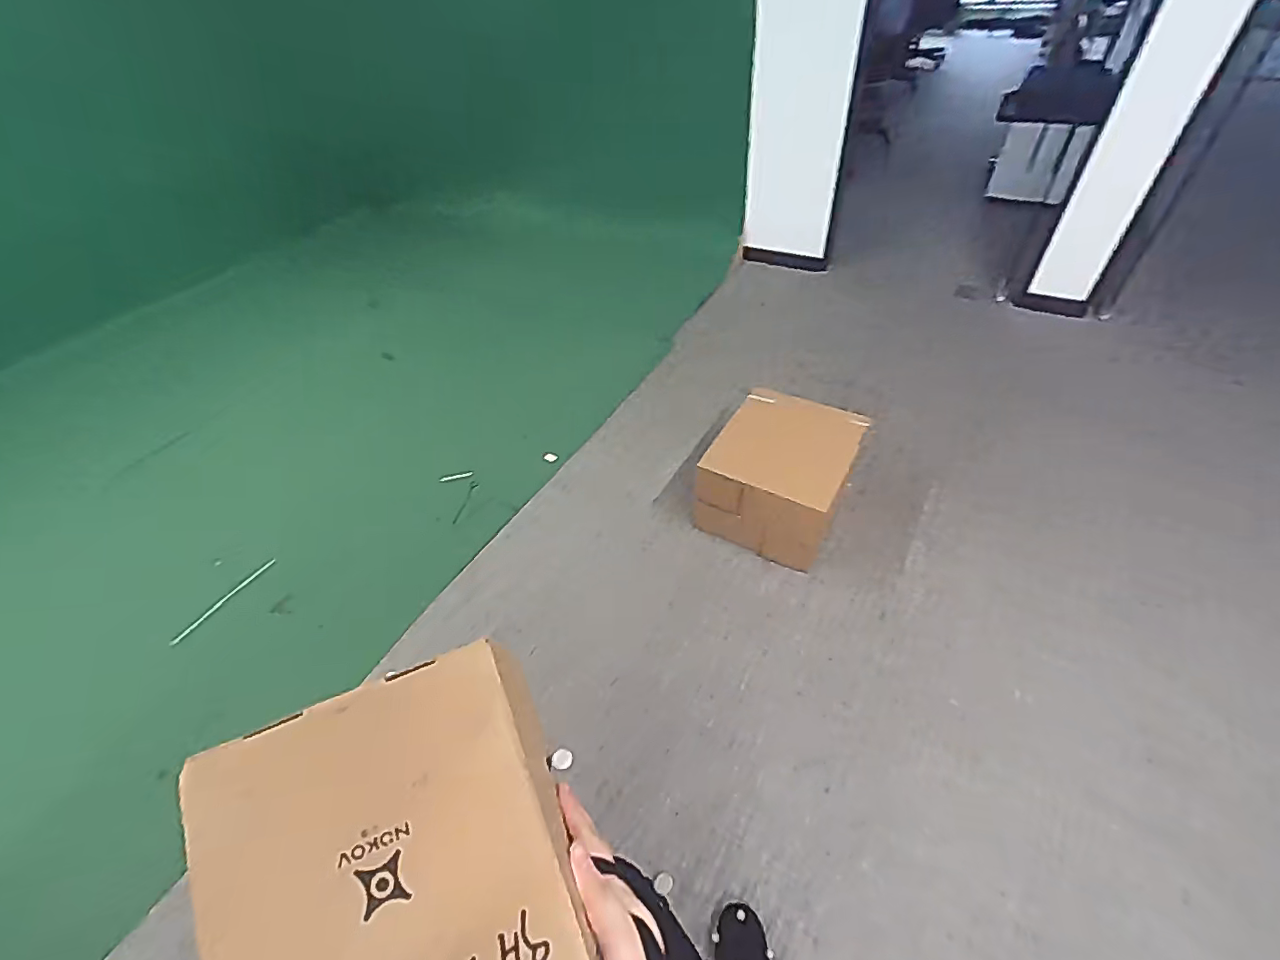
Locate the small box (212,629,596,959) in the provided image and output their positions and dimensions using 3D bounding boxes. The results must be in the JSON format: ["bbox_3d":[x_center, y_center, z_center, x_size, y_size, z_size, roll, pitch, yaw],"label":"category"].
[{"bbox_3d":[-0.136,0.221,0.357,0.168,0.176,0.179,-19,70,-13],"label":"small box"}]
